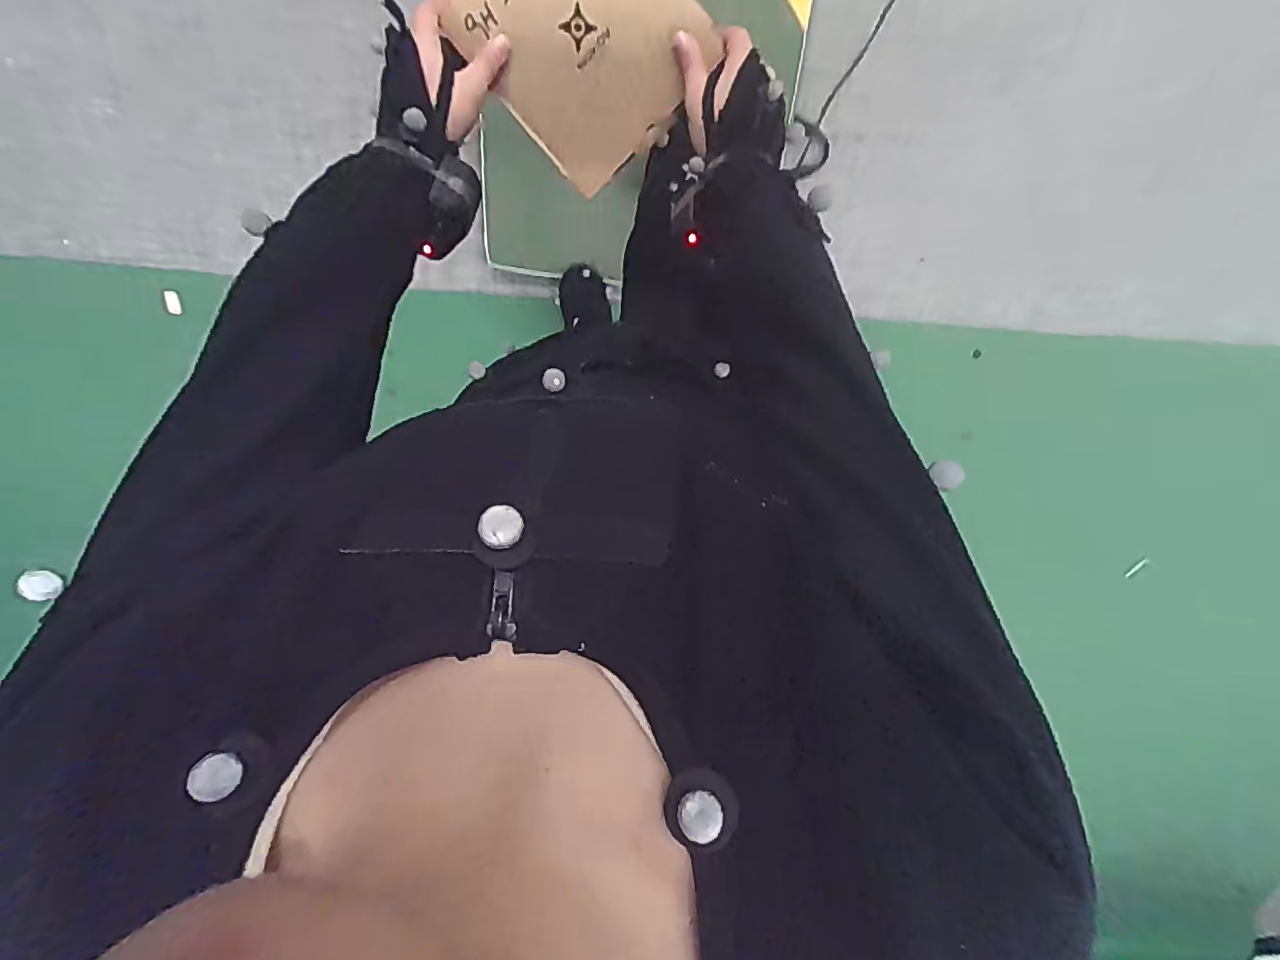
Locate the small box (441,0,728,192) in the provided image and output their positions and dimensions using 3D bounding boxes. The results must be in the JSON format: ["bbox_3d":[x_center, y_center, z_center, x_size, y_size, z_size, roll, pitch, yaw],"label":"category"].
[{"bbox_3d":[-0.042,-0.409,0.500,0.168,0.176,0.179,-36,118,23],"label":"small box"}]
